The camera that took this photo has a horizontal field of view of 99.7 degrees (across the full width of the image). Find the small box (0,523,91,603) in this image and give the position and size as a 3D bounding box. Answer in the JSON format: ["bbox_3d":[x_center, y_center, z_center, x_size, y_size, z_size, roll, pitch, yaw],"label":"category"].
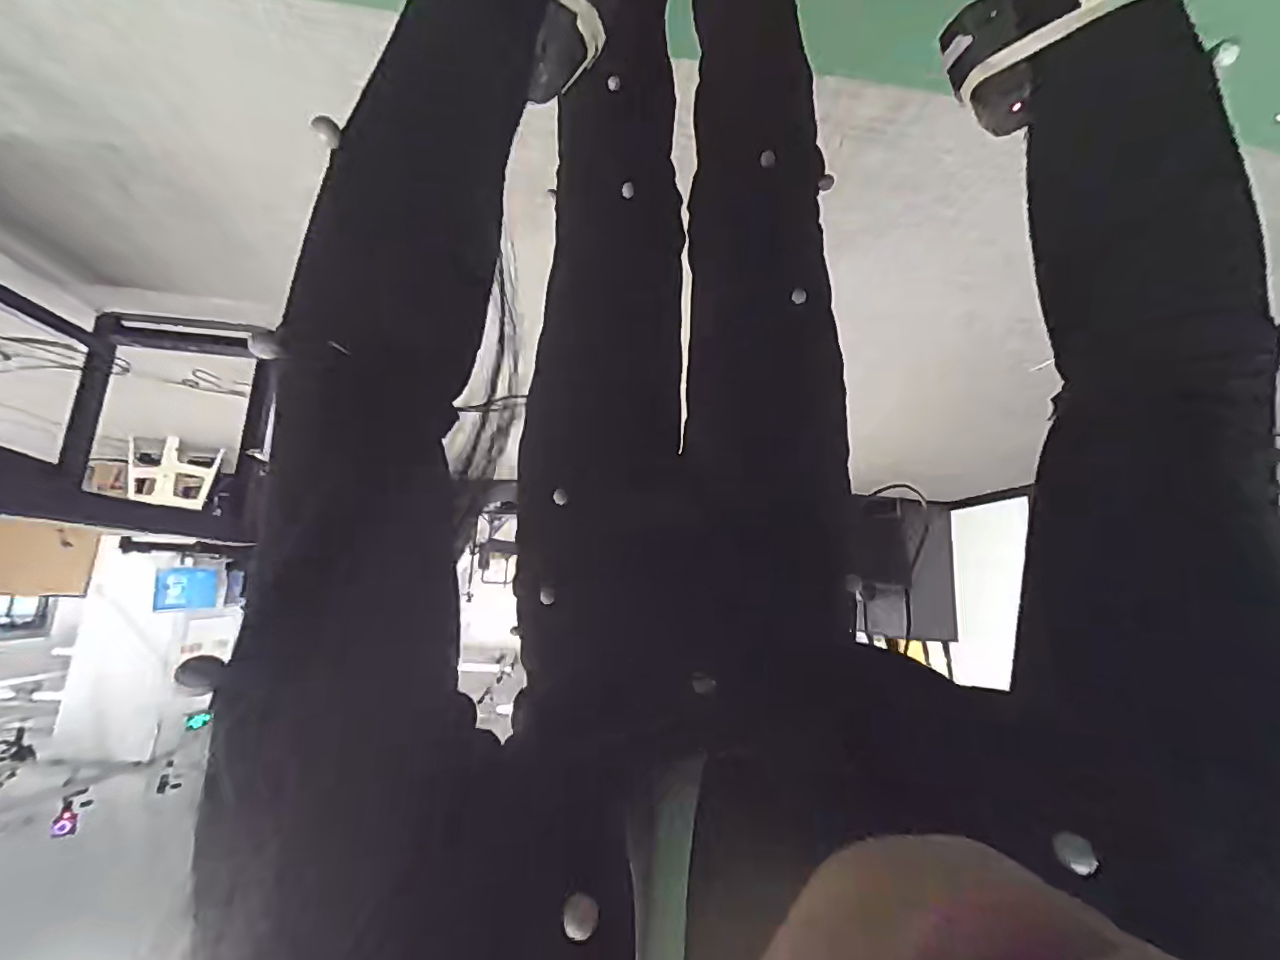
[{"bbox_3d":[-1.424,0.188,1.231,0.179,0.176,0.168,5,169,-6],"label":"small box"}]
